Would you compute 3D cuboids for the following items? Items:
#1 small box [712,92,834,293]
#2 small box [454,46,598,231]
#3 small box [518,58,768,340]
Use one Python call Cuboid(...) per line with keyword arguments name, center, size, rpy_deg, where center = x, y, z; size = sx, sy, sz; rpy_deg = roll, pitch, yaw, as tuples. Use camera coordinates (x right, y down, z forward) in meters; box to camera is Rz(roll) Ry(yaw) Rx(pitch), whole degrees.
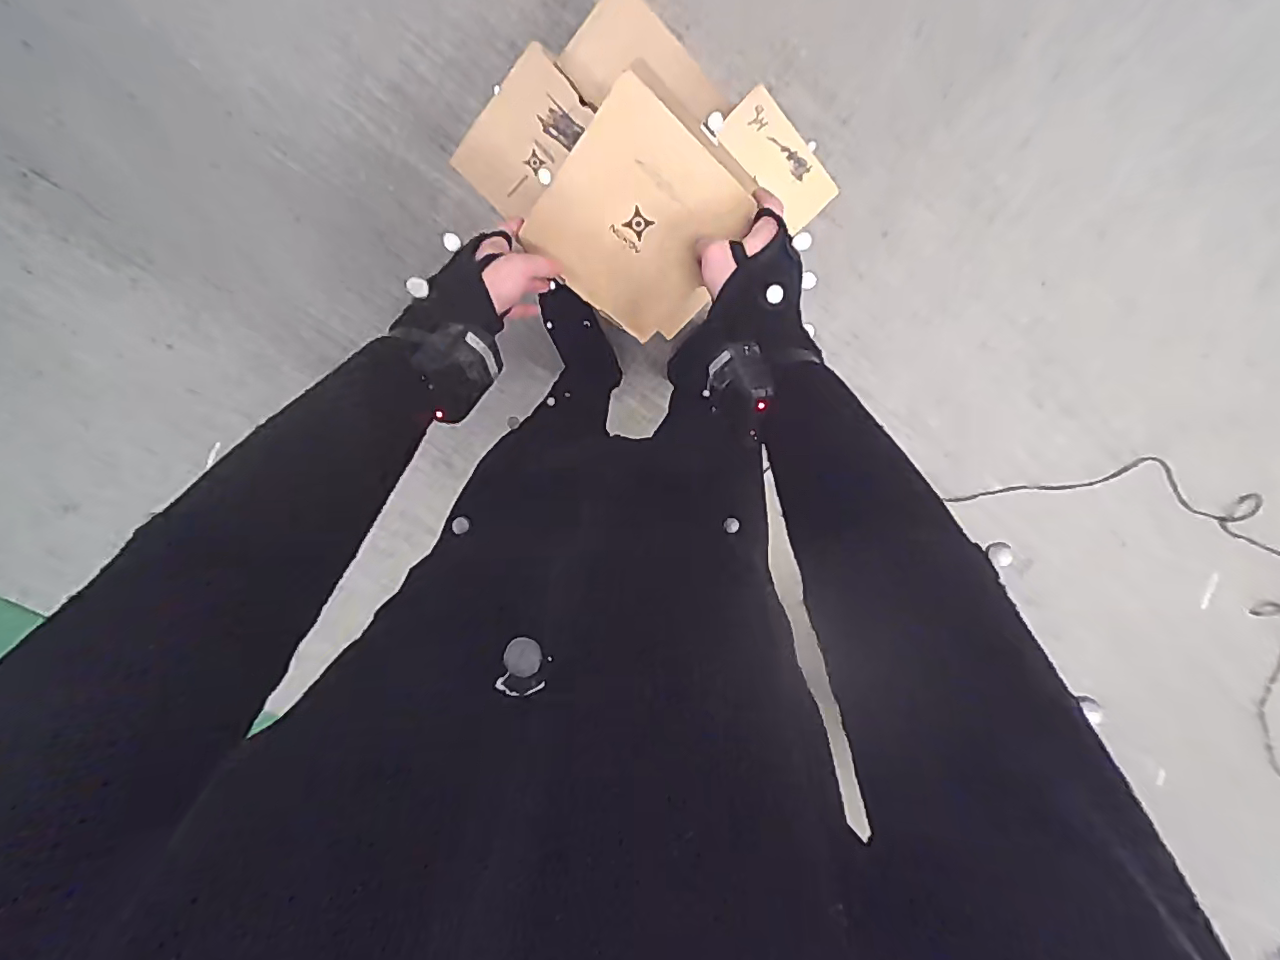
Cuboid(name="small box", center=(0.139, -0.399, 0.774), size=(0.179, 0.176, 0.168), rpy_deg=(-42, 109, 18))
Cuboid(name="small box", center=(-0.120, -0.443, 0.754), size=(0.179, 0.176, 0.168), rpy_deg=(-39, 110, 21))
Cuboid(name="small box", center=(0.005, -0.286, 0.555), size=(0.168, 0.176, 0.179), rpy_deg=(34, 123, -22))
